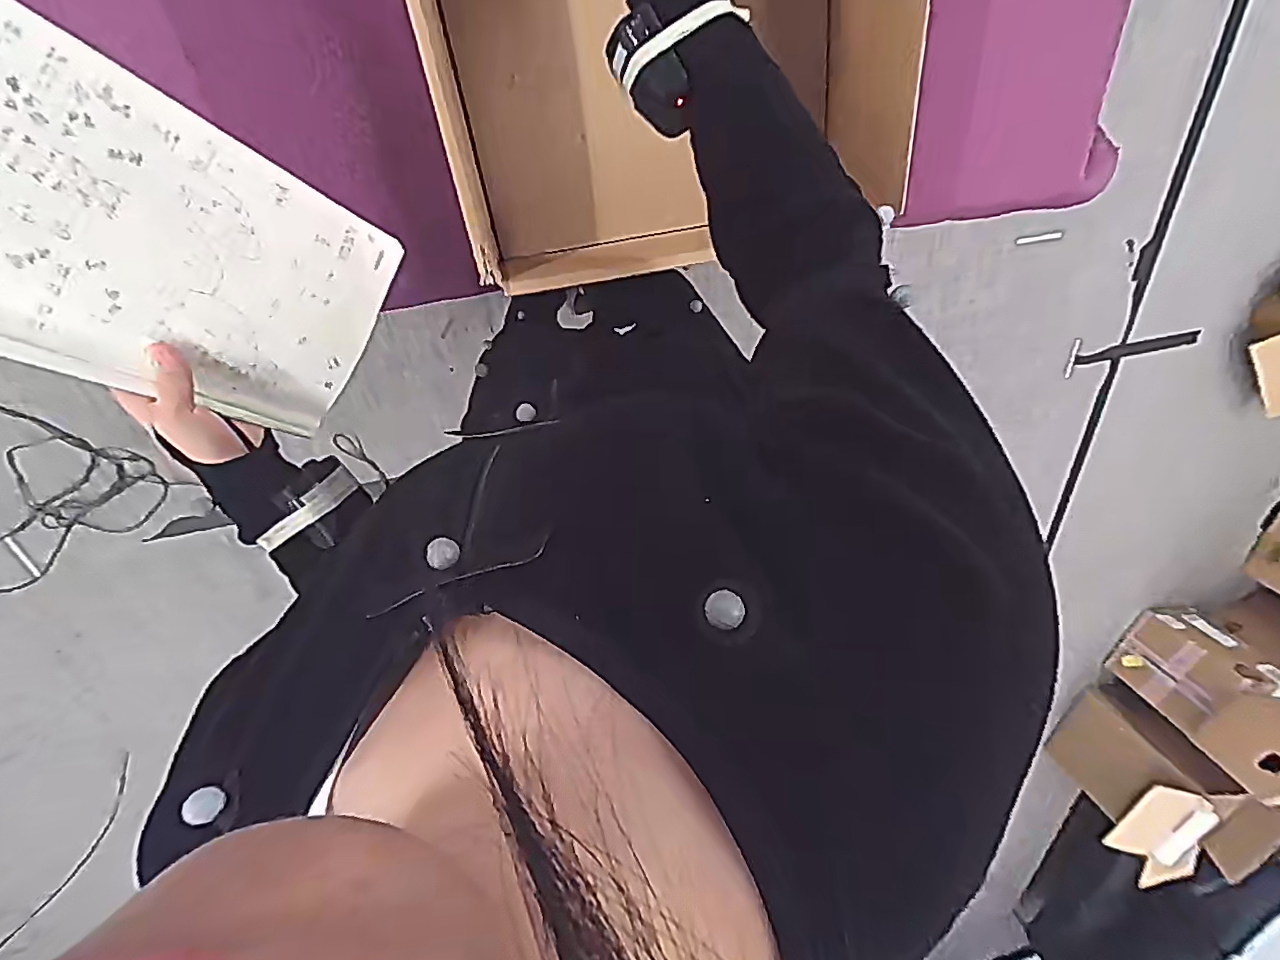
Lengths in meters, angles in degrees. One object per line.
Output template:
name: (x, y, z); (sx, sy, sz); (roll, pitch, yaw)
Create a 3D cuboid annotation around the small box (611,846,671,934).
small box: (-0.002, 1.392, 1.839); (0.179, 0.176, 0.168); (-10, 123, -11)

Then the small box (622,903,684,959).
small box: (0.039, 1.485, 1.709); (0.168, 0.176, 0.179); (-7, 122, -12)
